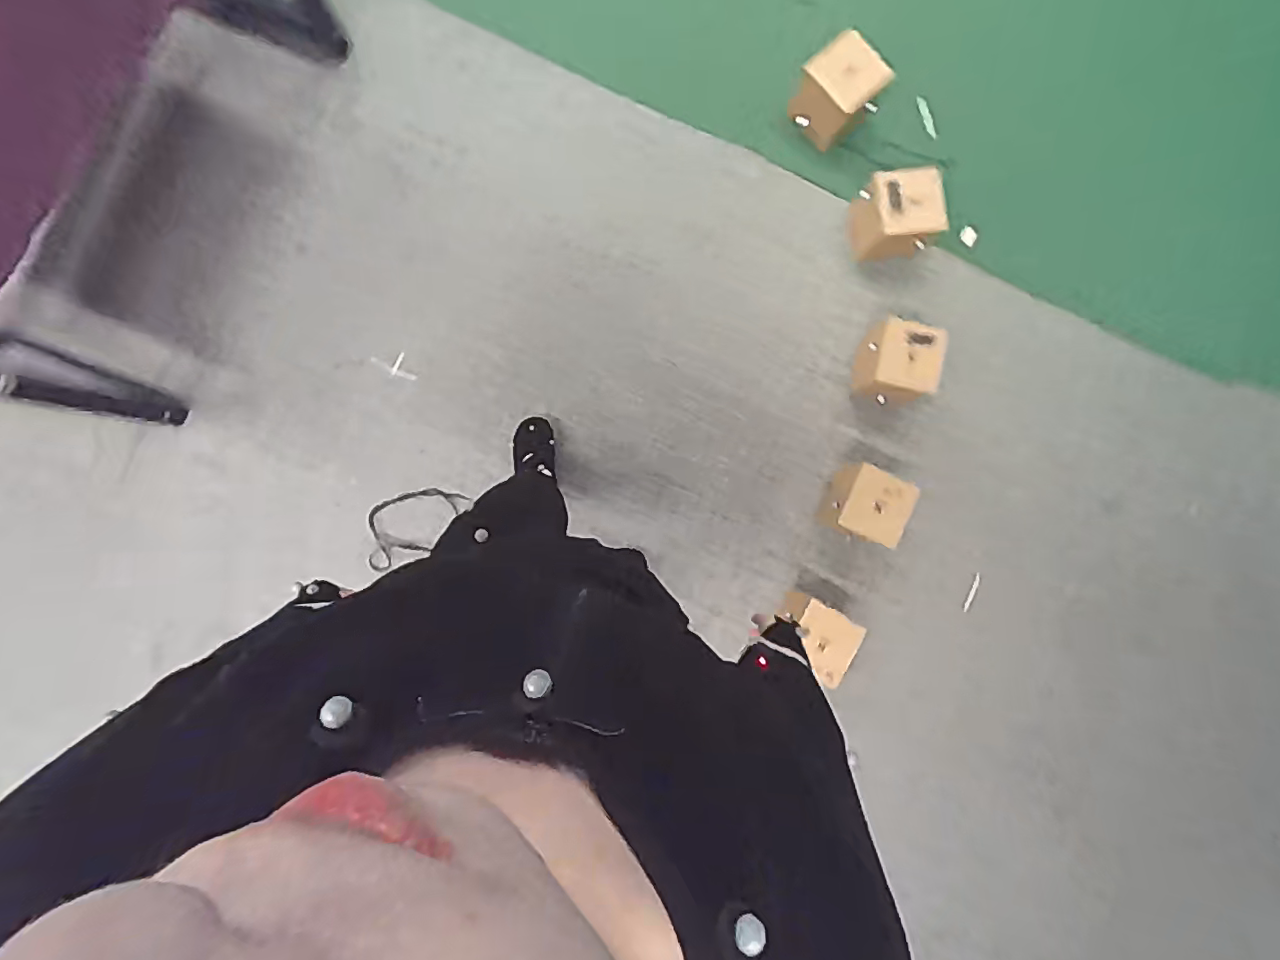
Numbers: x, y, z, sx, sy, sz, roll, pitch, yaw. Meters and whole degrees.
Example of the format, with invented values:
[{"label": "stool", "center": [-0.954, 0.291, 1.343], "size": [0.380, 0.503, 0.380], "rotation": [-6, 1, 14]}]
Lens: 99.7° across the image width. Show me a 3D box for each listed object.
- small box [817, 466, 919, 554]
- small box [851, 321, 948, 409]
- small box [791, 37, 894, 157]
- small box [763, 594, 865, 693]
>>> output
[{"label": "small box", "center": [0.602, 0.079, 1.453], "size": [0.168, 0.176, 0.179], "rotation": [26, 87, -2]}, {"label": "small box", "center": [0.699, -0.306, 1.476], "size": [0.168, 0.176, 0.179], "rotation": [14, 88, -2]}, {"label": "small box", "center": [0.556, -1.059, 1.508], "size": [0.179, 0.176, 0.168], "rotation": [-40, 89, -4]}, {"label": "small box", "center": [0.450, 0.421, 1.430], "size": [0.168, 0.176, 0.179], "rotation": [31, 86, -1]}]
